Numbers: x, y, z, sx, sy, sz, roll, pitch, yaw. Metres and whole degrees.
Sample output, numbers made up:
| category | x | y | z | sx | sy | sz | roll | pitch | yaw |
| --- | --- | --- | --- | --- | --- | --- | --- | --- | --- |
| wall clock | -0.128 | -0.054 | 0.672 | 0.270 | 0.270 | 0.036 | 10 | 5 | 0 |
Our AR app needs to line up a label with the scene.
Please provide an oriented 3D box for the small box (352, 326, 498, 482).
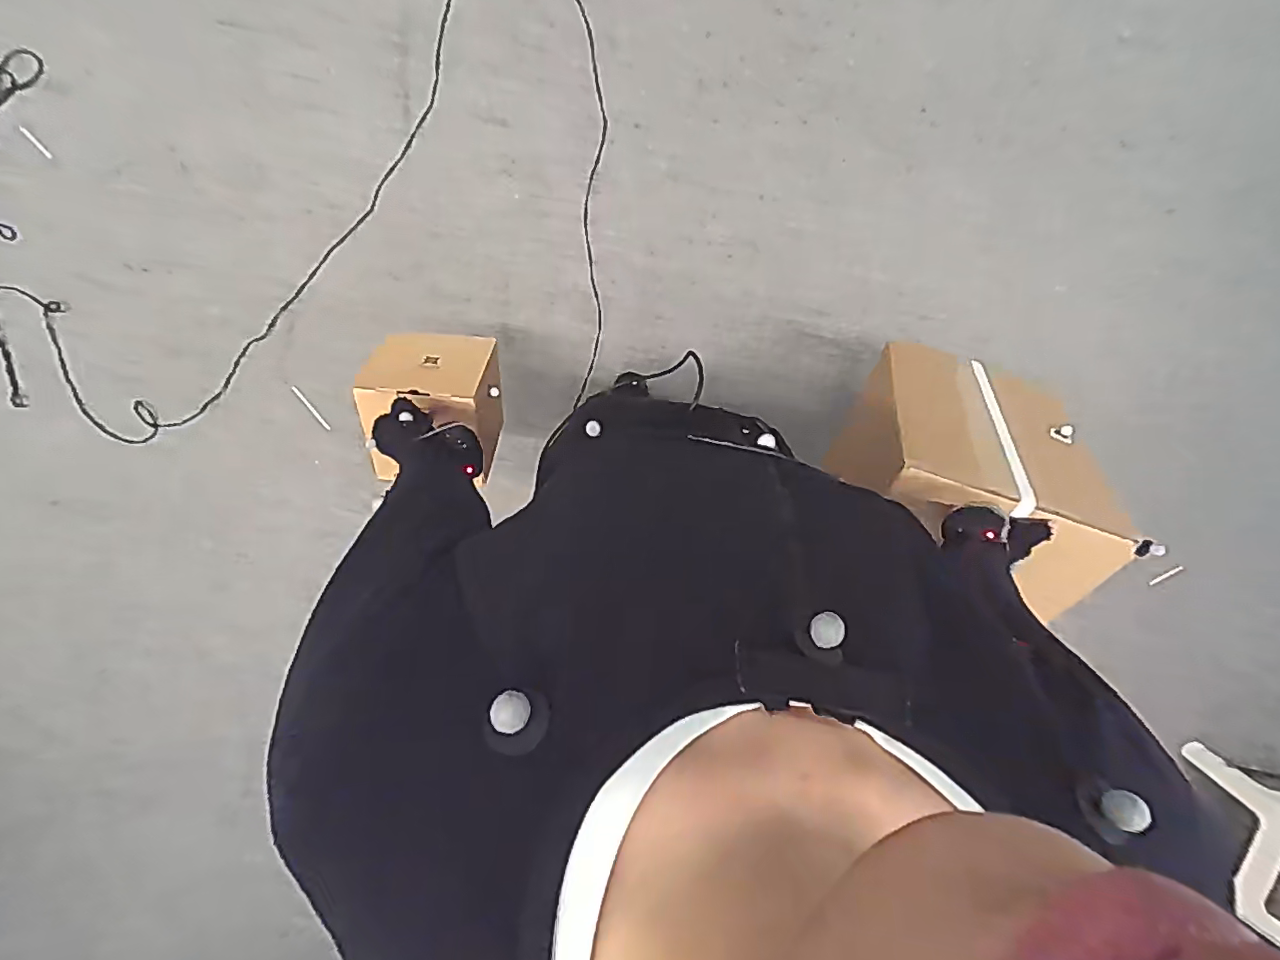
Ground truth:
| category | x | y | z | sx | sy | sz | roll | pitch | yaw |
| --- | --- | --- | --- | --- | --- | --- | --- | --- | --- |
| small box | -0.325 | -0.121 | 0.858 | 0.168 | 0.179 | 0.176 | 4 | 133 | -5 |
